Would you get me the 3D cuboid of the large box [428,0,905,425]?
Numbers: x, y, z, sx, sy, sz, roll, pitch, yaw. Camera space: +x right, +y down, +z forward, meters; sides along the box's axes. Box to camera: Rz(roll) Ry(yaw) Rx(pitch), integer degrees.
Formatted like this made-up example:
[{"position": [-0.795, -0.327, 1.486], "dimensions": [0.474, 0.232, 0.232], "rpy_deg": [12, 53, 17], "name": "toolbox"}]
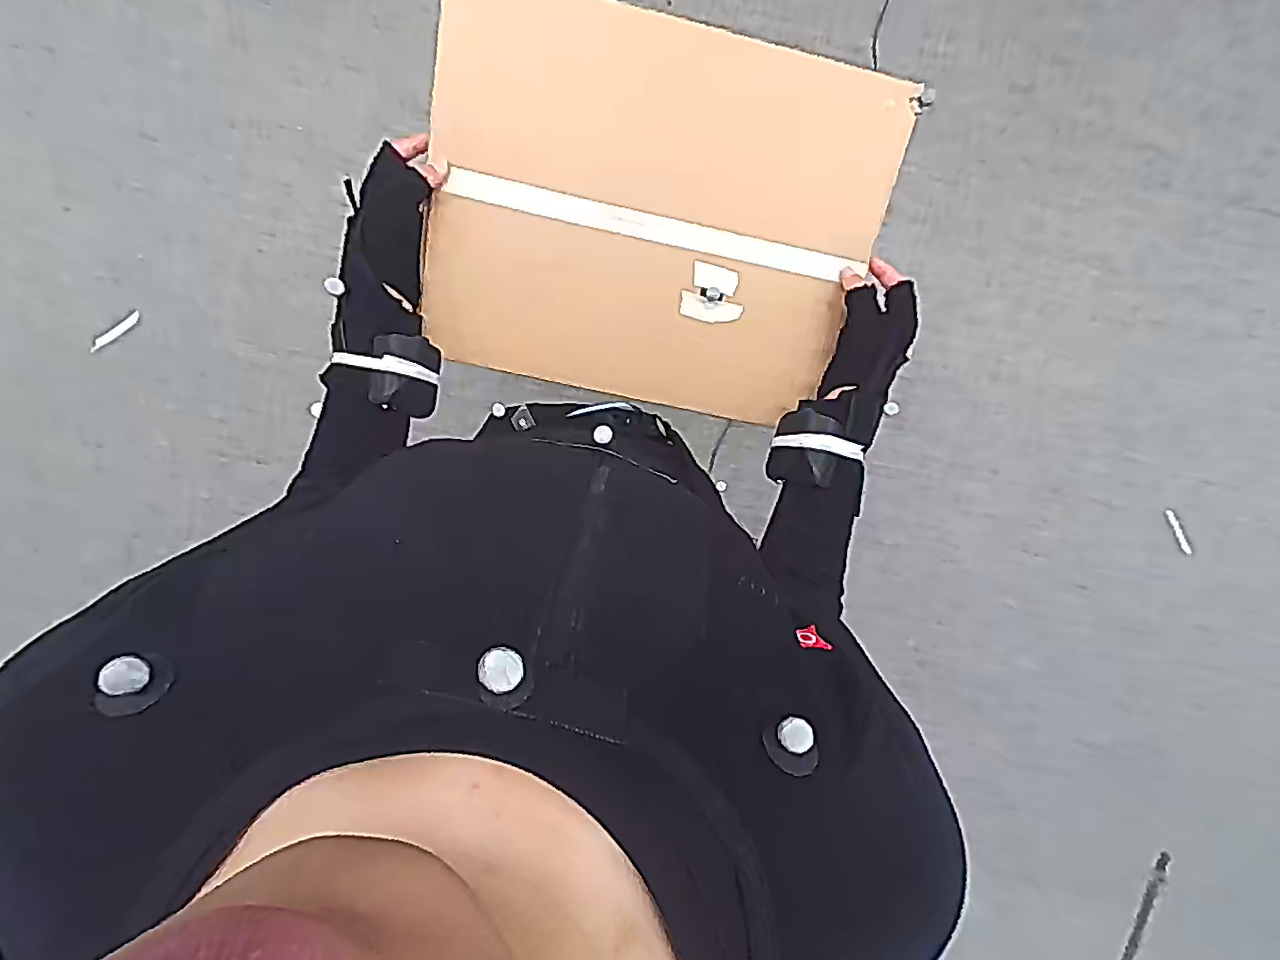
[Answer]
[{"position": [0.007, -0.280, 0.647], "dimensions": [0.408, 0.320, 0.320], "rpy_deg": [11, 109, -6], "name": "large box"}]
